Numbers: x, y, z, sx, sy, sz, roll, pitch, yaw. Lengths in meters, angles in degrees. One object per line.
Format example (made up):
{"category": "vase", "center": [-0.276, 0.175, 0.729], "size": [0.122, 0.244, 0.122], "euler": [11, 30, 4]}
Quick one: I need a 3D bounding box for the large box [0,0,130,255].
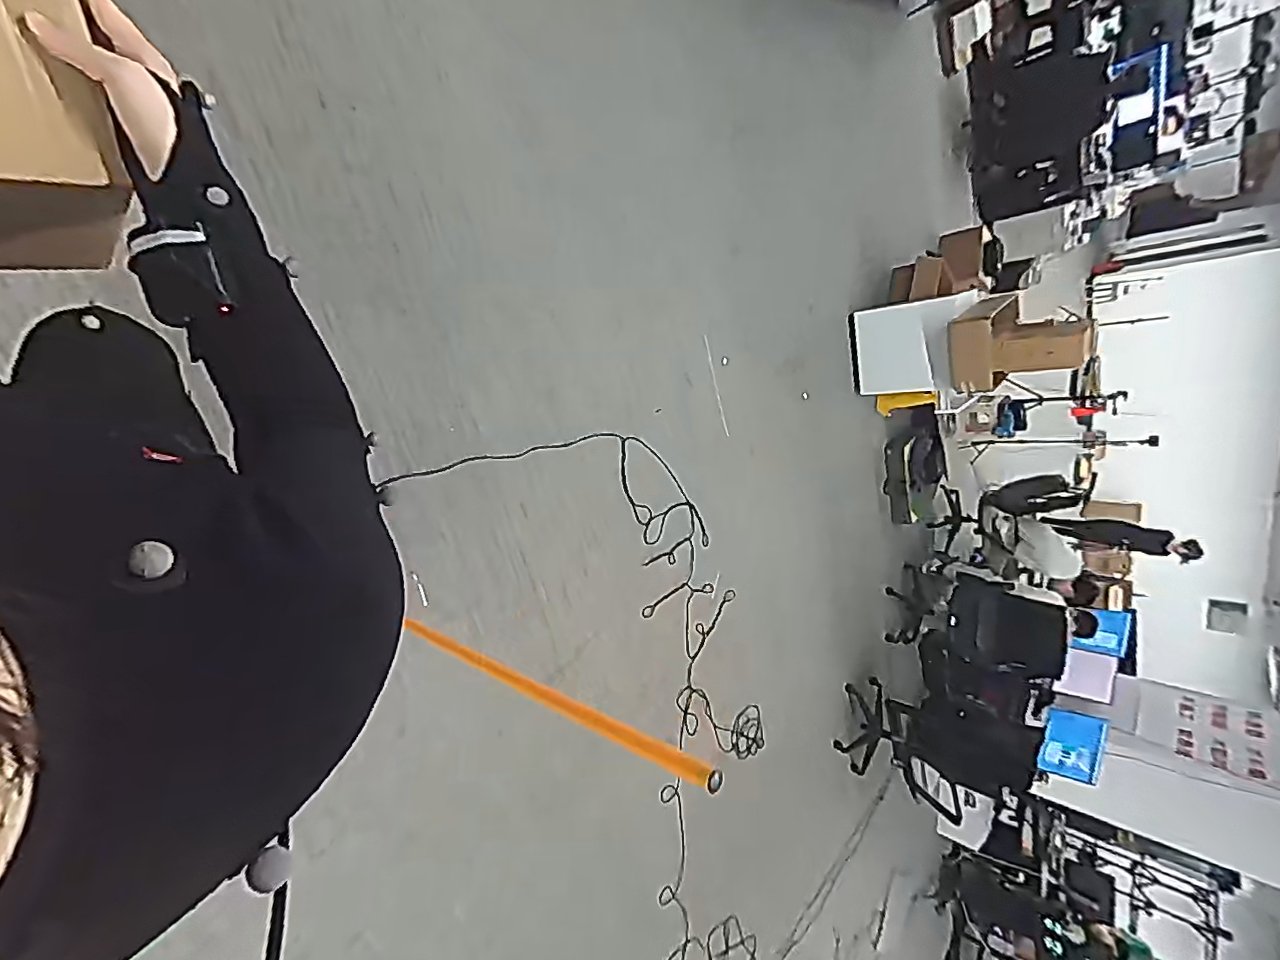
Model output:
{"category": "large box", "center": [-0.640, -0.326, 0.322], "size": [0.408, 0.320, 0.320], "euler": [-24, 112, -45]}
